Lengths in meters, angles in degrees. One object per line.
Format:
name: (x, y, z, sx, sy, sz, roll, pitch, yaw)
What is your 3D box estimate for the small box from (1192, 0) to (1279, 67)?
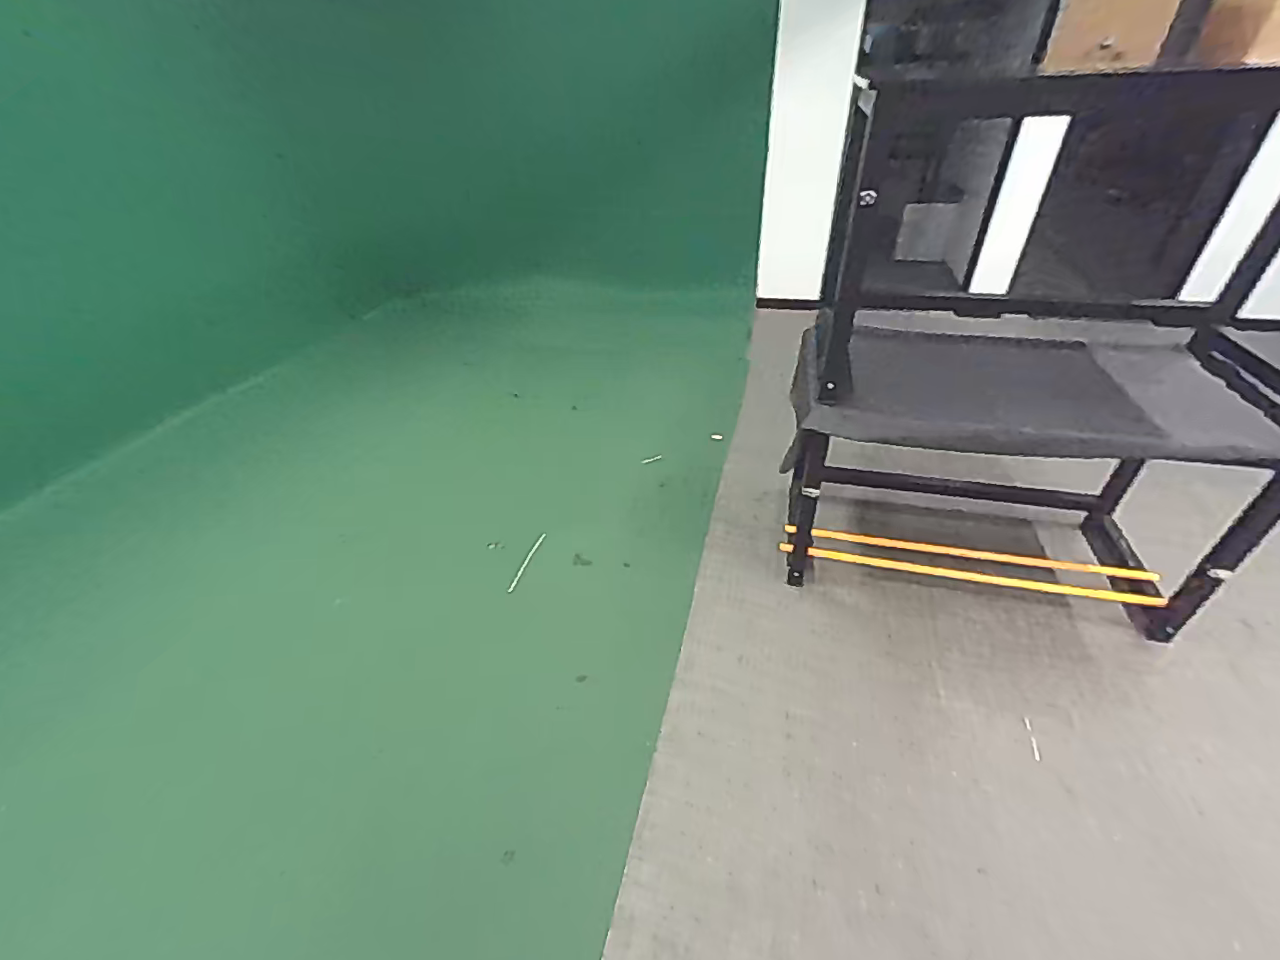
small box: (1.187, -0.863, 0.981, 0.168, 0.176, 0.179, 4, 37, 9)
